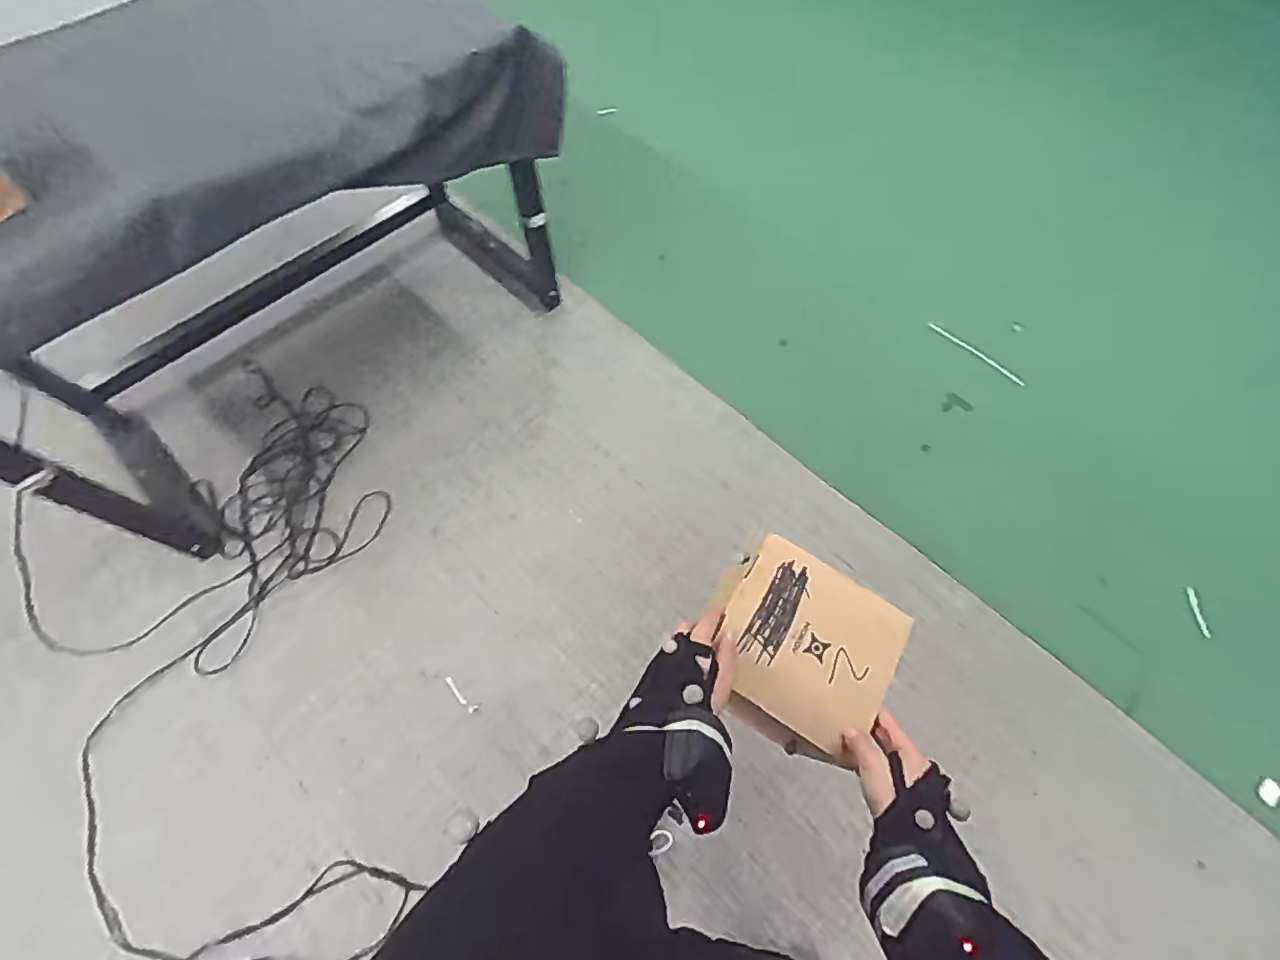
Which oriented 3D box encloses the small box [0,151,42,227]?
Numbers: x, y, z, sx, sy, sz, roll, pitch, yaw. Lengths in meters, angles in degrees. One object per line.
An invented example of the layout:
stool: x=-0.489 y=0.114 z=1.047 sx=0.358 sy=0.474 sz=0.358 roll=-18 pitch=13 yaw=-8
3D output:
small box: x=-1.010 y=-0.441 z=0.738 sx=0.168 sy=0.176 sz=0.179 roll=41 pitch=70 yaw=16
